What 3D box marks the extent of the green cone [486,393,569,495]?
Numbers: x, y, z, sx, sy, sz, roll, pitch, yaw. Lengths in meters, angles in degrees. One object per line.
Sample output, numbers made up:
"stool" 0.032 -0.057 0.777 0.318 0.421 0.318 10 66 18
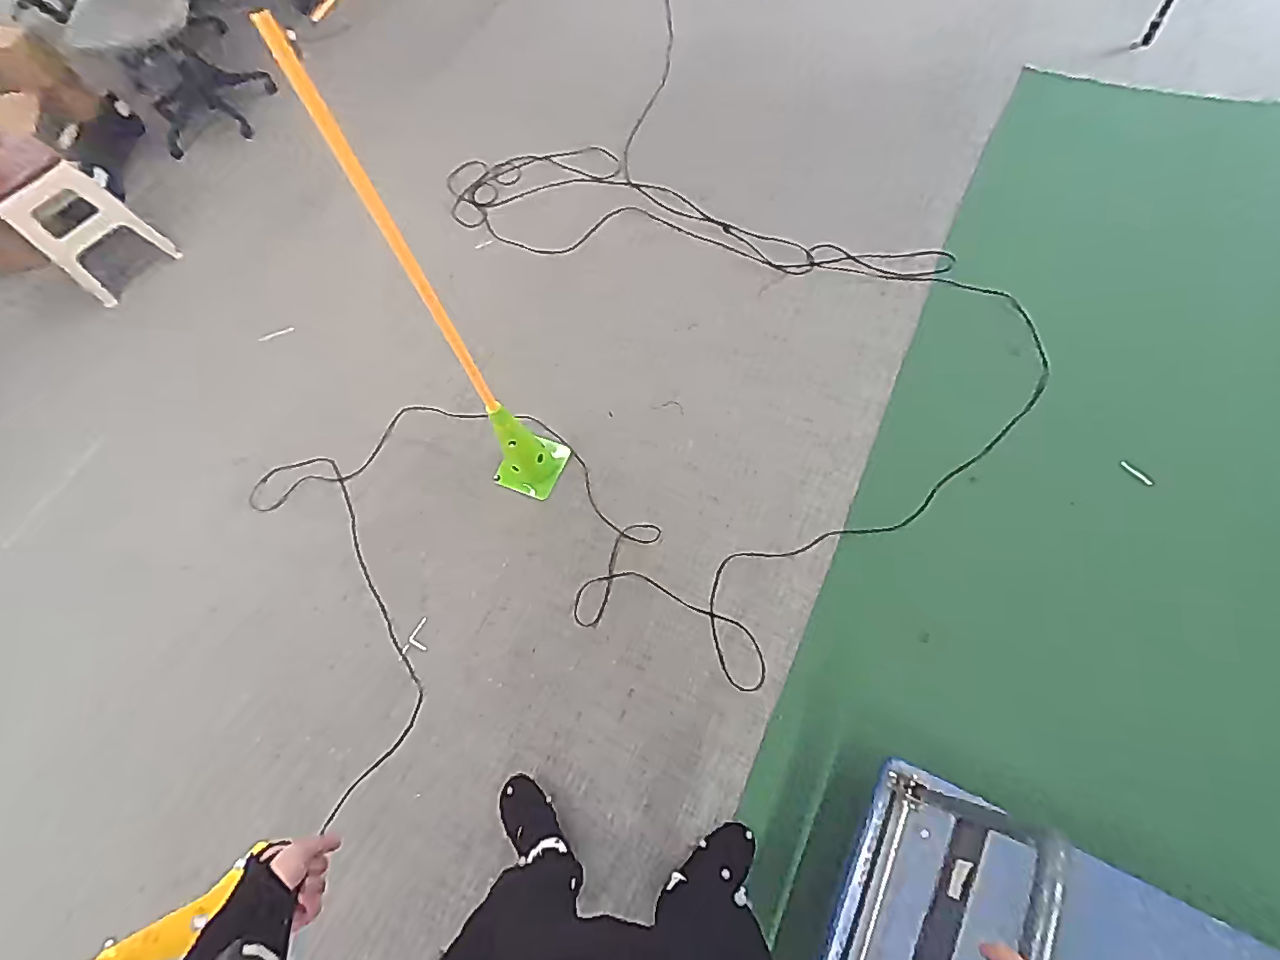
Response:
"green cone" -0.367 -0.134 1.583 0.200 0.368 0.202 19 68 15
